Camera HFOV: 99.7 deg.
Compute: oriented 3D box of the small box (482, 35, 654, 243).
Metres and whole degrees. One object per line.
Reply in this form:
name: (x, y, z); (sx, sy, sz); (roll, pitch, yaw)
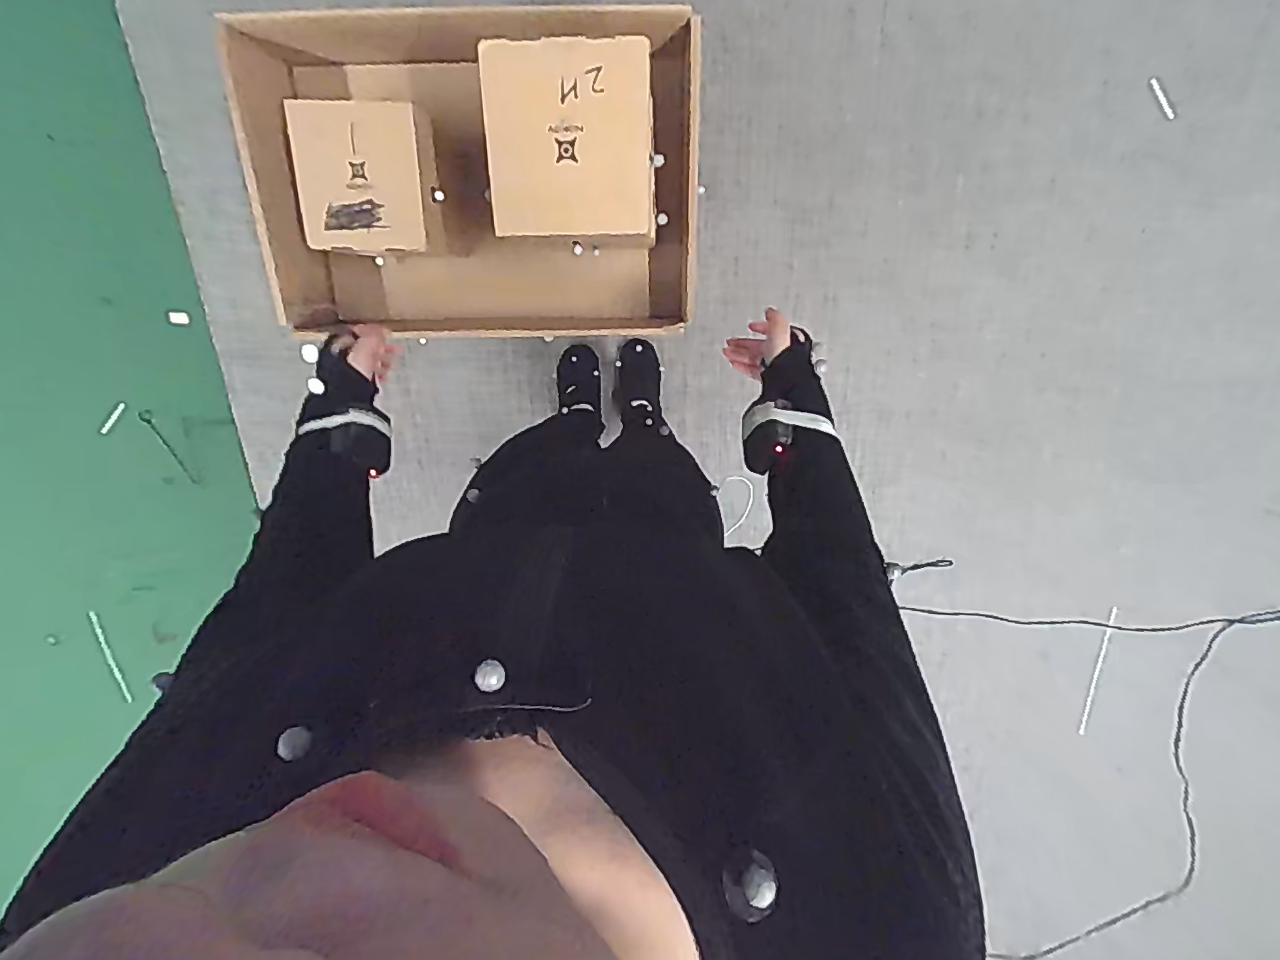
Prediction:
small box: (-0.069, -0.370, 0.618); (0.168, 0.176, 0.179); (1, 110, 1)
